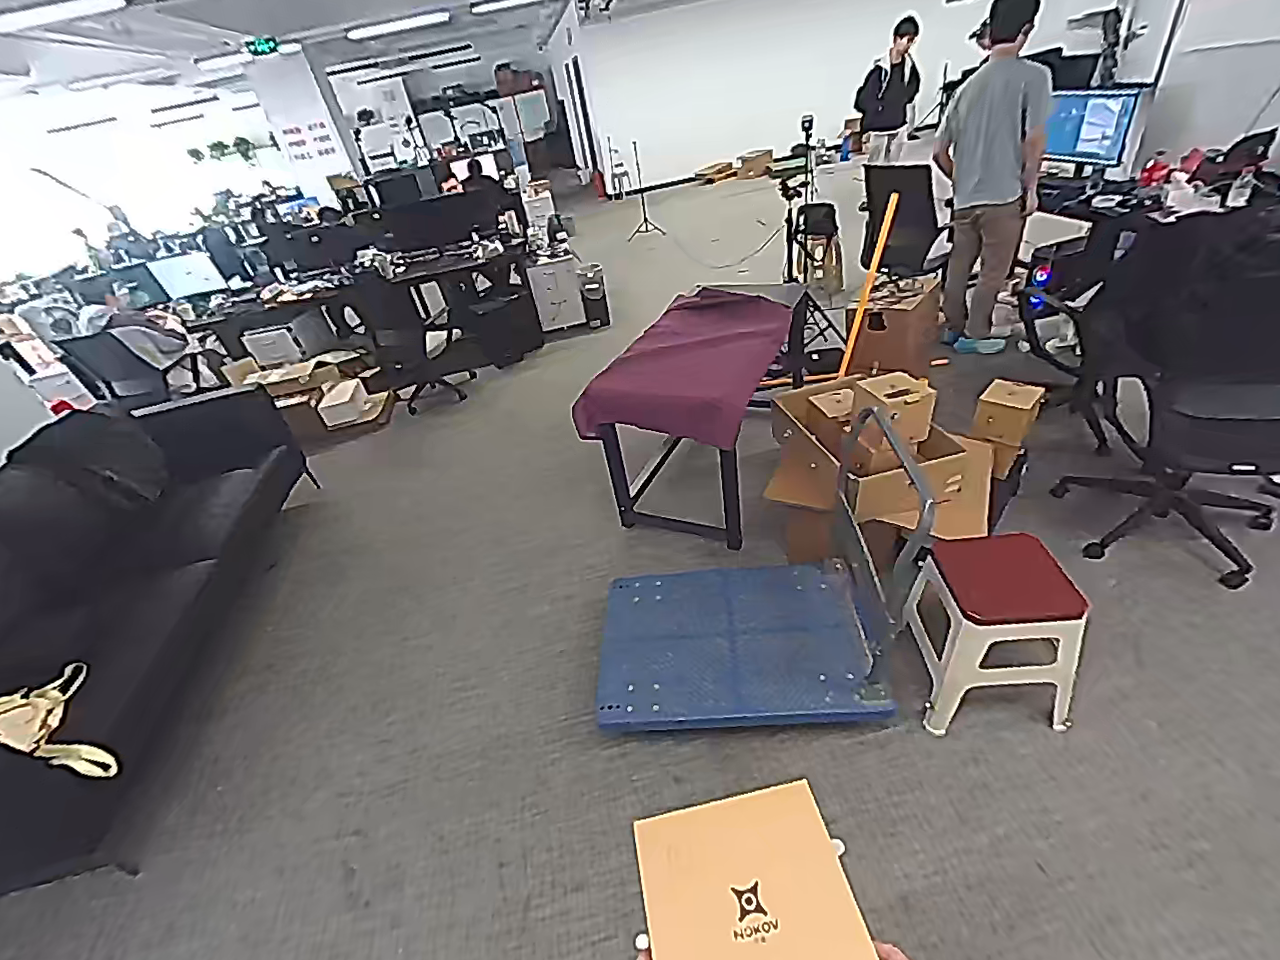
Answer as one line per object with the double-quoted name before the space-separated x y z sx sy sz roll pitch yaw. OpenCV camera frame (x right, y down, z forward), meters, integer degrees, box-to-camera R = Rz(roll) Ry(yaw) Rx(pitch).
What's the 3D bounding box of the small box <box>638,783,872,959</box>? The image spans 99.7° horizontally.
"small box" 0.098 0.412 0.482 0.168 0.176 0.179 -12 38 -2
